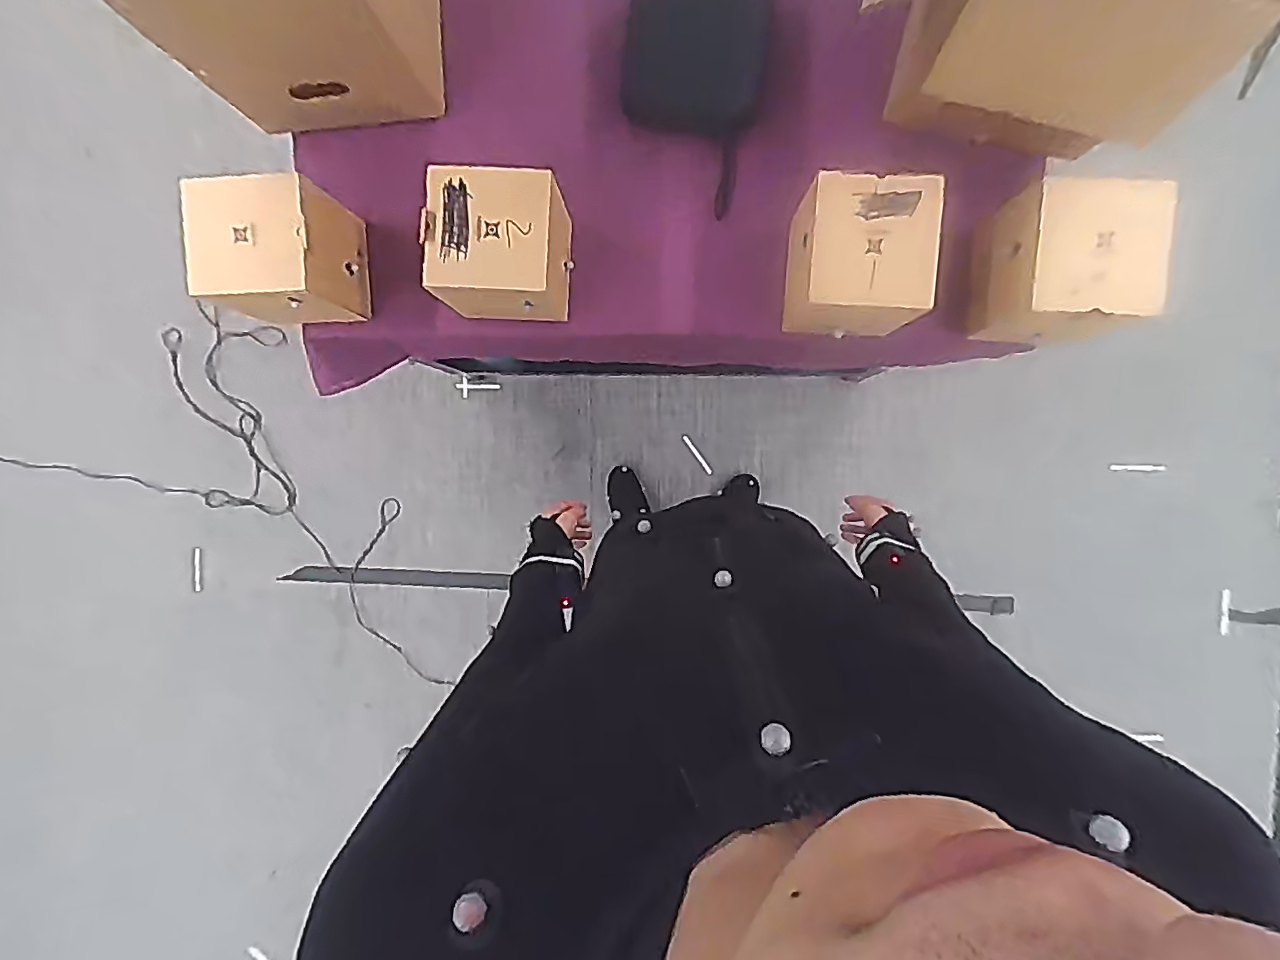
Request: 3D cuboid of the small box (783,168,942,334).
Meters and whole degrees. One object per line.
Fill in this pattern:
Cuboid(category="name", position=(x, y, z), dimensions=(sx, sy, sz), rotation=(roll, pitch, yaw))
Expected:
Cuboid(category="small box", position=(0.312, -0.323, 0.791), dimensions=(0.168, 0.176, 0.179), rotation=(4, 94, 3))

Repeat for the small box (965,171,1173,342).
Cuboid(category="small box", position=(0.596, -0.308, 0.774), dimensions=(0.168, 0.176, 0.179), rotation=(4, 93, 4))

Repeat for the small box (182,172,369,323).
Cuboid(category="small box", position=(-0.551, -0.347, 0.838), dimensions=(0.179, 0.176, 0.168), rotation=(-2, 93, 2))
